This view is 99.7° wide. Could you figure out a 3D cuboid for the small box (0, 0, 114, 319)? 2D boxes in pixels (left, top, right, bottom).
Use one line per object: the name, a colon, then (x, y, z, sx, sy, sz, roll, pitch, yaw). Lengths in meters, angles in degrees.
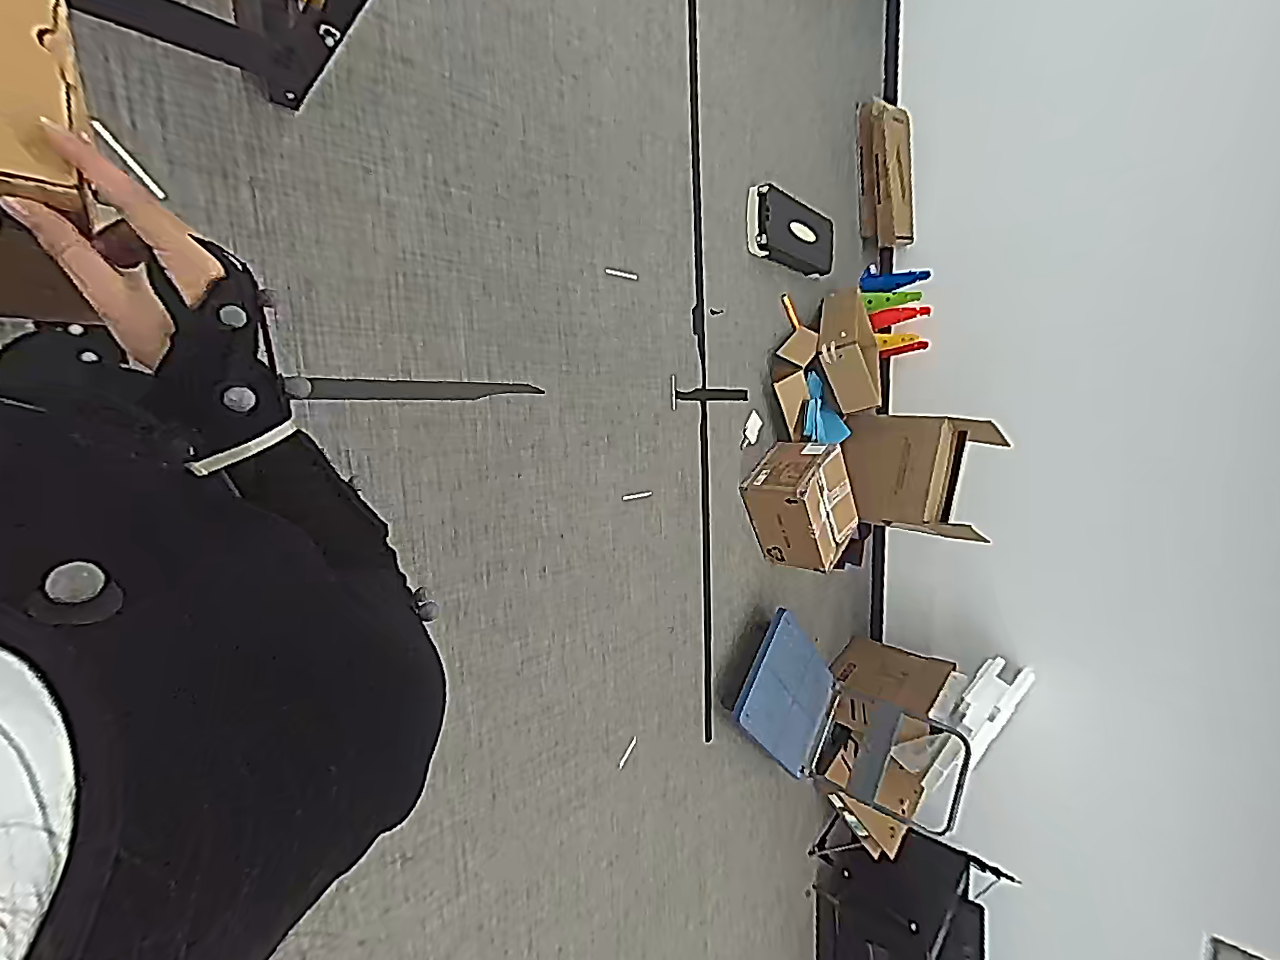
small box: (-0.414, -0.201, 0.287, 0.179, 0.176, 0.168, -7, 83, -43)
